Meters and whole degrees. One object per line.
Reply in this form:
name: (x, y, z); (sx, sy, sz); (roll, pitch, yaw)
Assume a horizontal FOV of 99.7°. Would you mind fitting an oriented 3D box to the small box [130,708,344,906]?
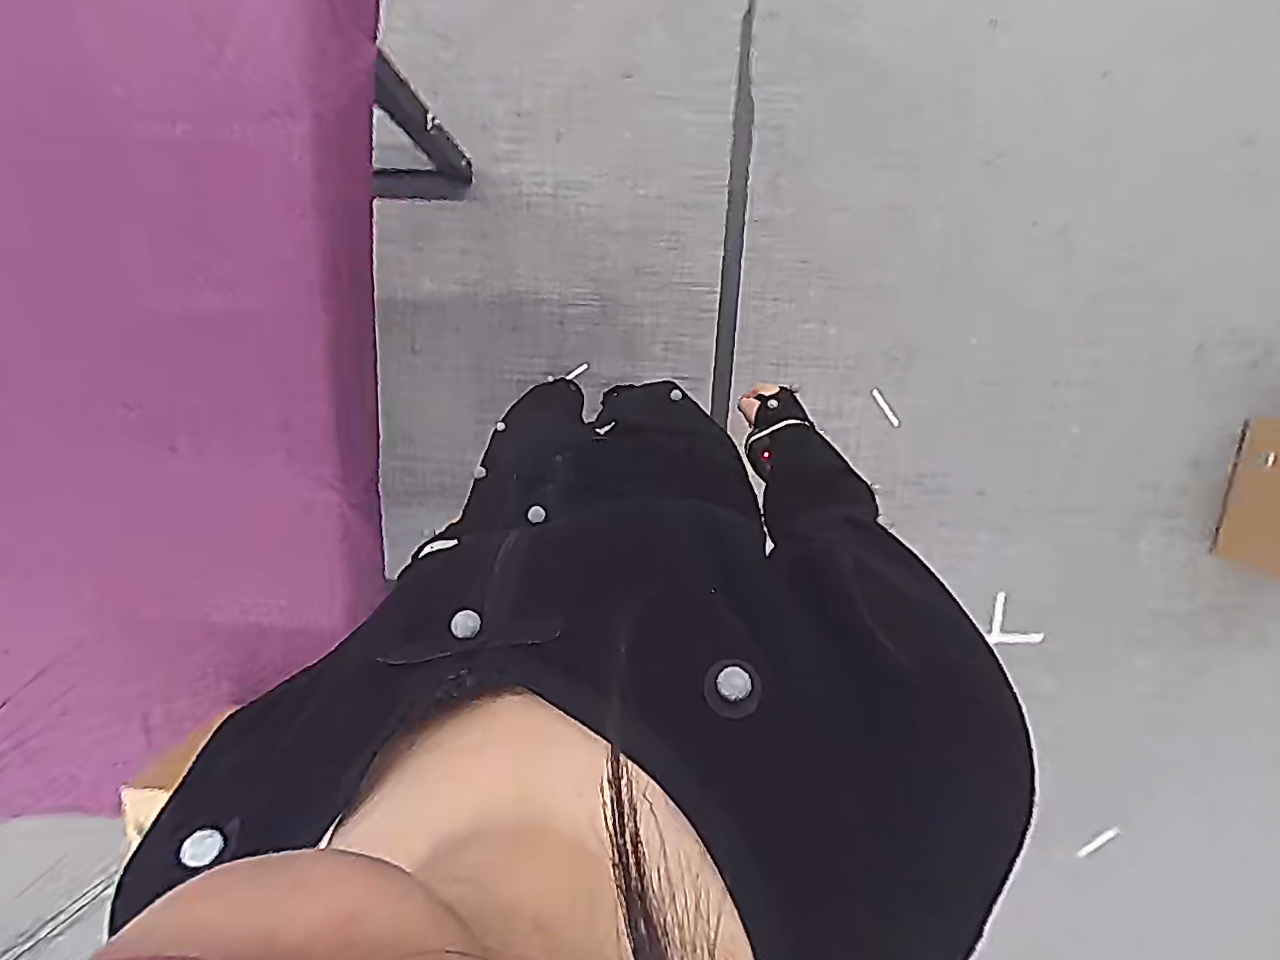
small box: (-0.528, 0.435, 0.740); (0.179, 0.176, 0.168); (3, 100, -1)
